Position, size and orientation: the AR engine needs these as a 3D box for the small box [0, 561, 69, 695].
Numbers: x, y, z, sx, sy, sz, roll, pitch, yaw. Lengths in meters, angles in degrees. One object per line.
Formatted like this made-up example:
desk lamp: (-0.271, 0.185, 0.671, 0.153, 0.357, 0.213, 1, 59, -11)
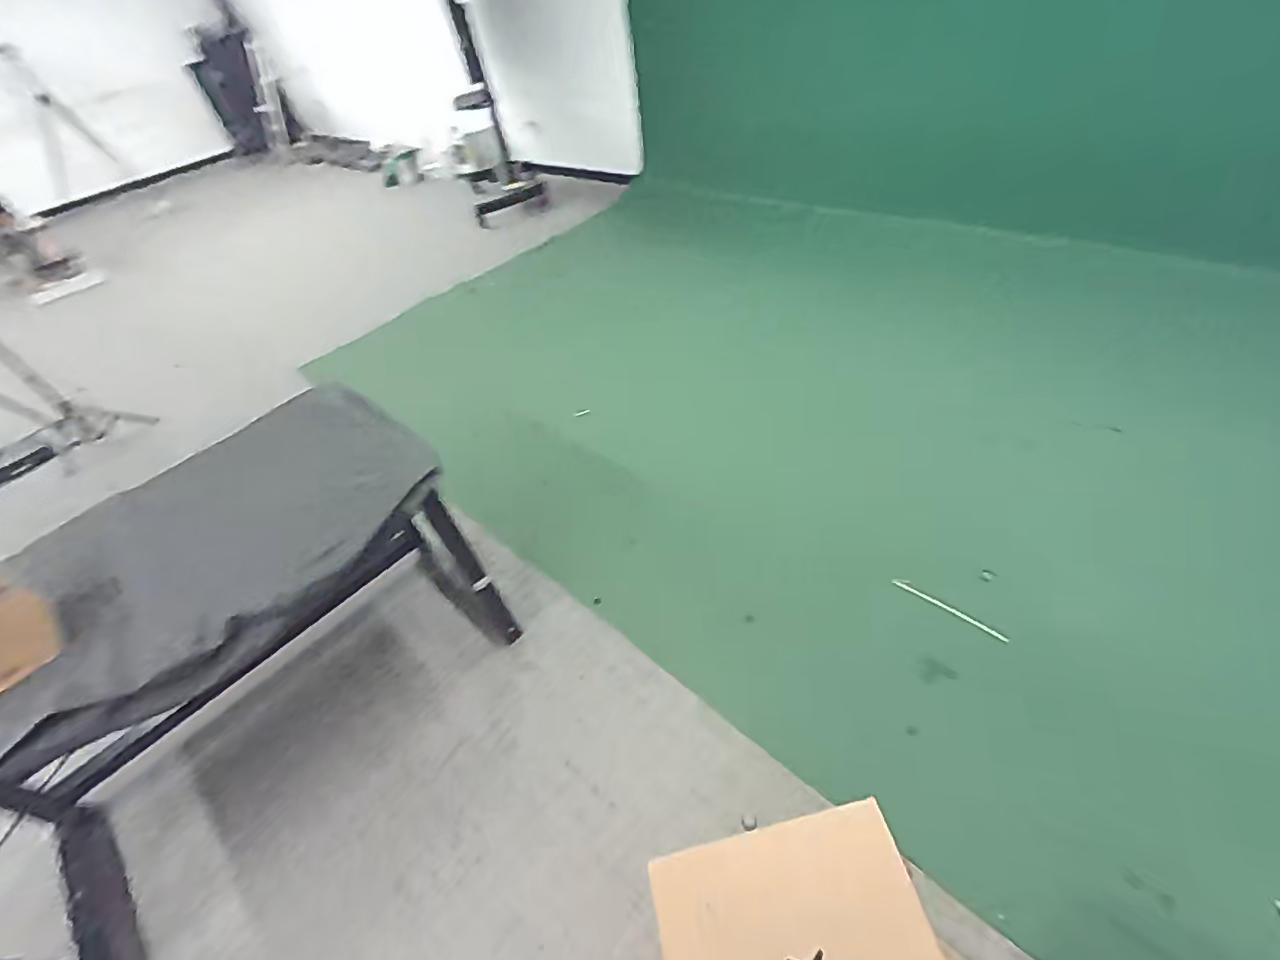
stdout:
small box: (-1.166, 0.267, 0.944, 0.179, 0.176, 0.168, 30, 57, 34)
